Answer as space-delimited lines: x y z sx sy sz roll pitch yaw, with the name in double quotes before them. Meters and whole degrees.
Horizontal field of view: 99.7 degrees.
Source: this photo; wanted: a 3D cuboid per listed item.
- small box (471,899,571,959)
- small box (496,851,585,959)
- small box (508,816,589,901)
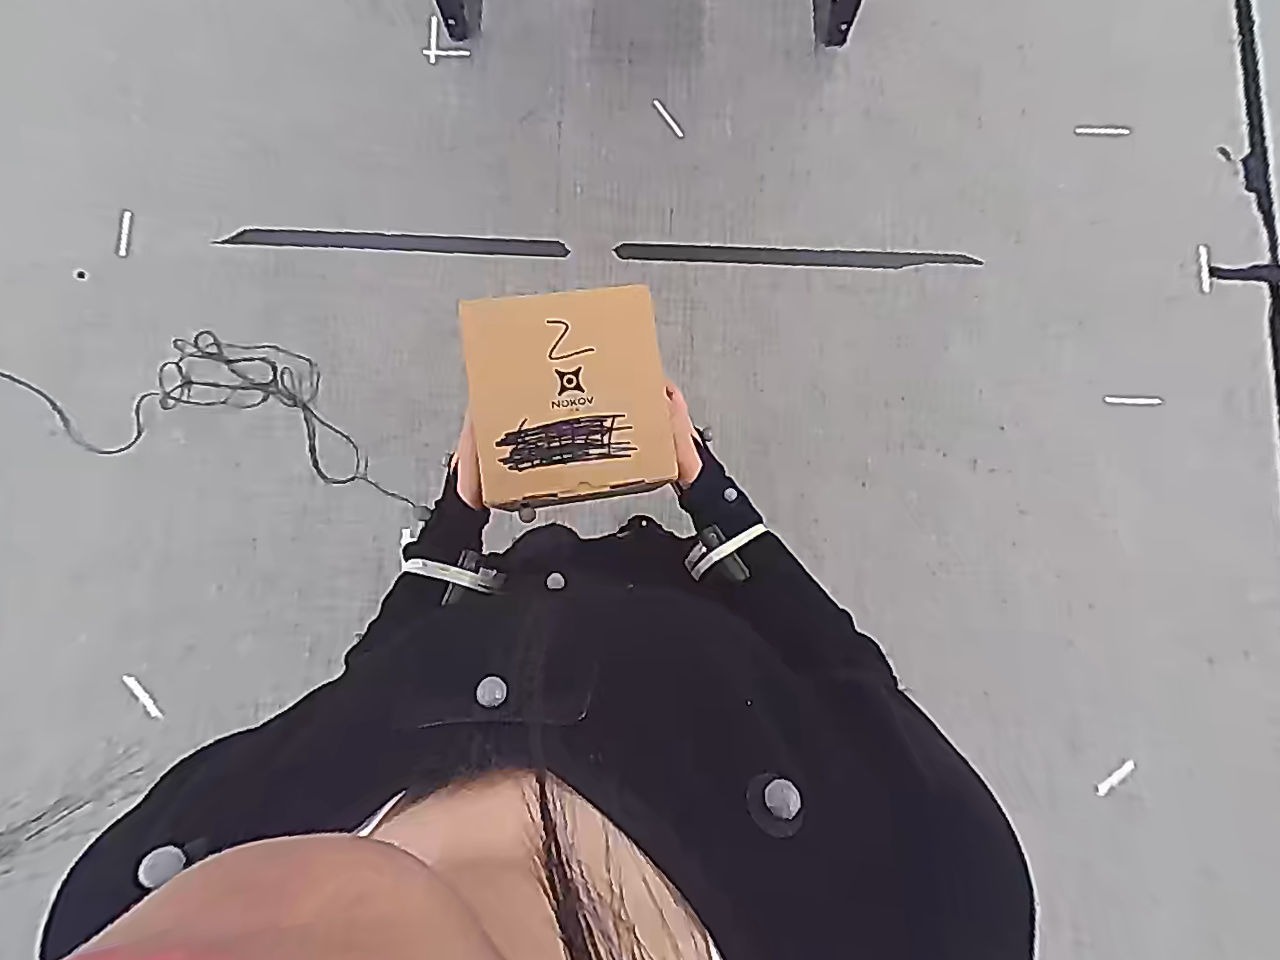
"small box" -0.223 0.933 1.017 0.168 0.176 0.179 3 84 0
"small box" -0.216 0.945 1.180 0.179 0.176 0.168 4 84 0
"small box" -0.224 0.963 1.343 0.179 0.176 0.168 2 85 0
